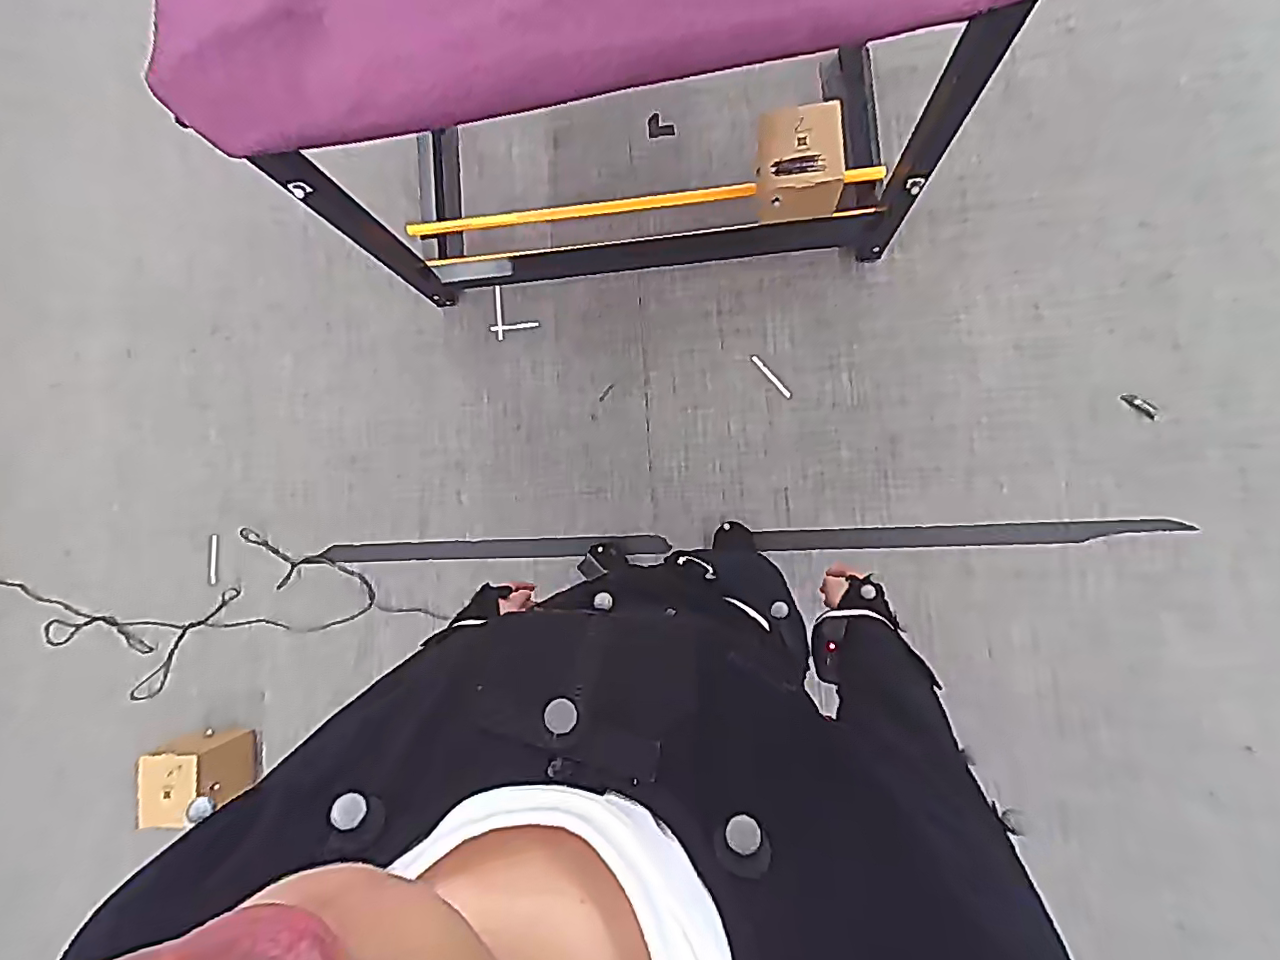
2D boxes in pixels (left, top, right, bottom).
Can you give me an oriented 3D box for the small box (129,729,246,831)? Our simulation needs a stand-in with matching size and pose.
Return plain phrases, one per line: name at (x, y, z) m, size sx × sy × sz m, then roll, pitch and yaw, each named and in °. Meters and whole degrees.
small box at (-1.159, 0.767, 1.394) m, size 0.168 × 0.176 × 0.179 m, roll -3°, pitch 86°, yaw 6°
